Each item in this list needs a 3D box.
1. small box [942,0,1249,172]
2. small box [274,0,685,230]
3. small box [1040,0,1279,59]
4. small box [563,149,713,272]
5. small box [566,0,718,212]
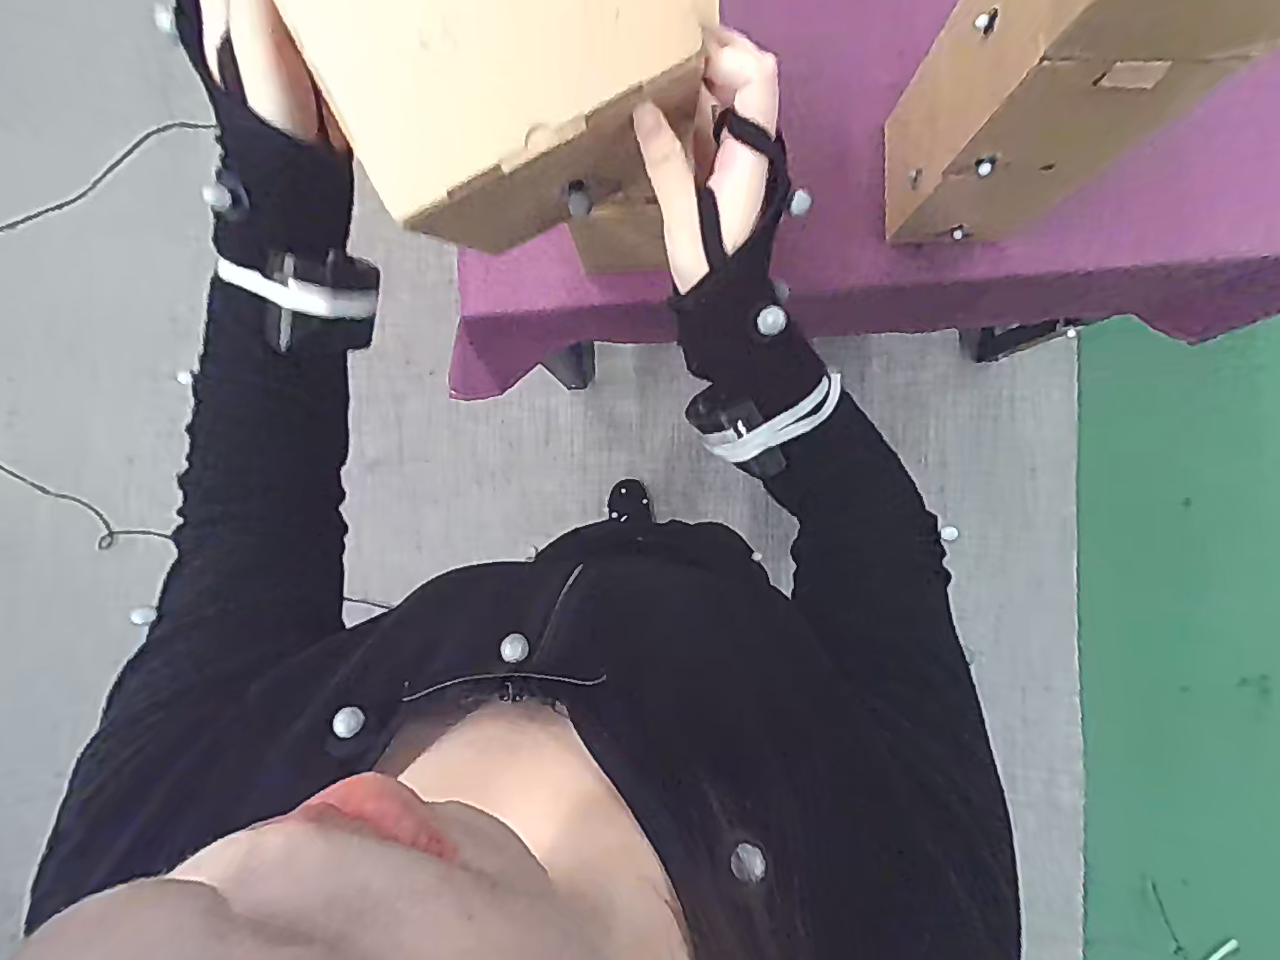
[{"bbox_3d":[0.411,-0.421,0.514,0.168,0.176,0.179,2,89,4],"label":"small box"},{"bbox_3d":[-0.079,-0.260,0.304,0.168,0.176,0.179,-21,105,10],"label":"small box"},{"bbox_3d":[0.403,-0.416,0.351,0.179,0.176,0.168,3,91,3],"label":"small box"},{"bbox_3d":[0.000,-0.385,0.704,0.179,0.176,0.168,-1,89,4],"label":"small box"},{"bbox_3d":[-0.012,-0.397,0.542,0.168,0.176,0.179,0,90,3],"label":"small box"}]
